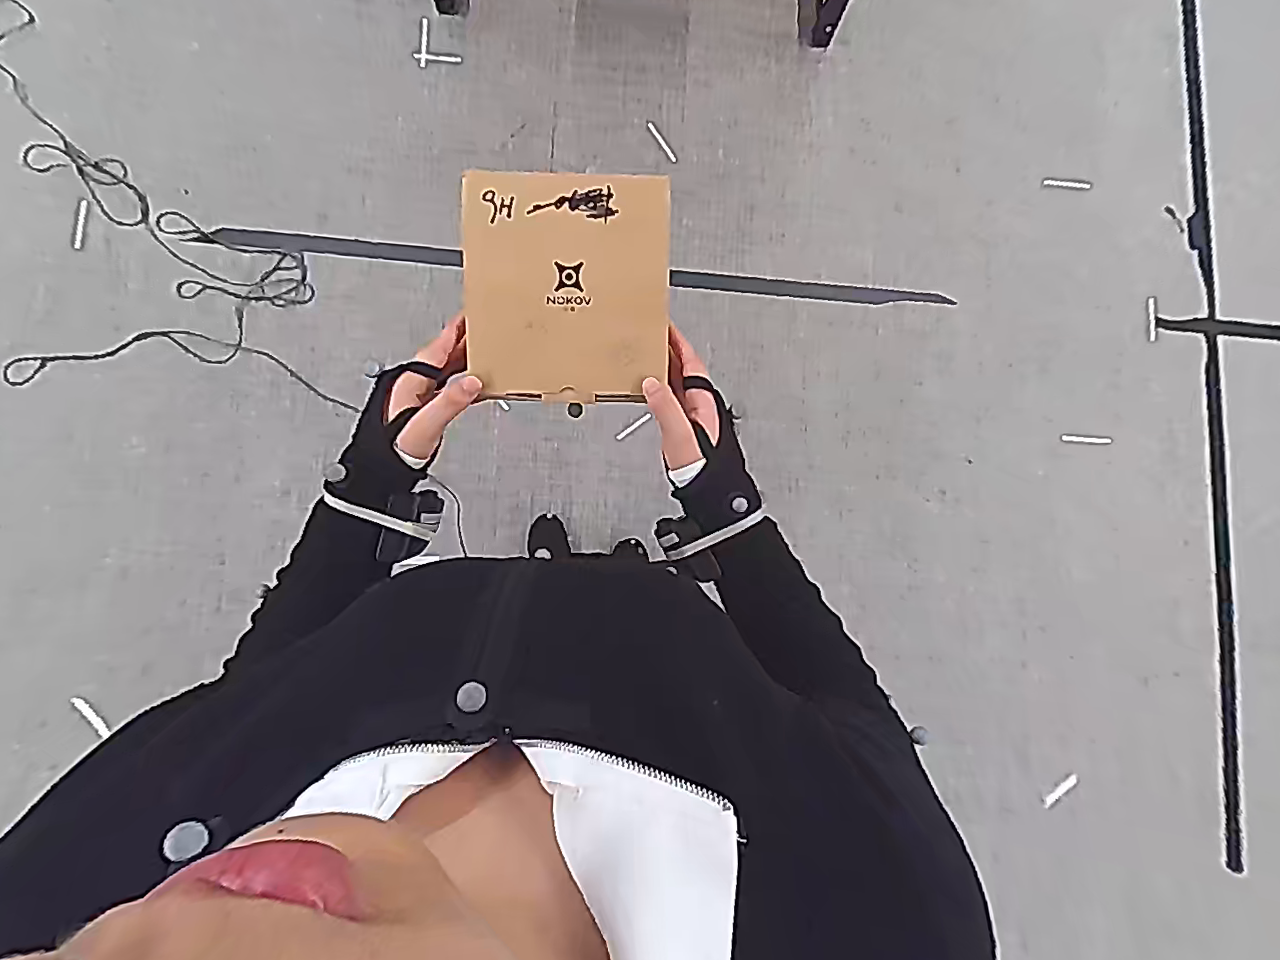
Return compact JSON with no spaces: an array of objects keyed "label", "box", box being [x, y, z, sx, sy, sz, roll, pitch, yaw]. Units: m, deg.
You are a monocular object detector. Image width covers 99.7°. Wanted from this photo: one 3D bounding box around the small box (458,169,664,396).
[{"label":"small box","box":[-0.065,-0.170,0.518,0.168,0.176,0.179,0,98,-2]}]
